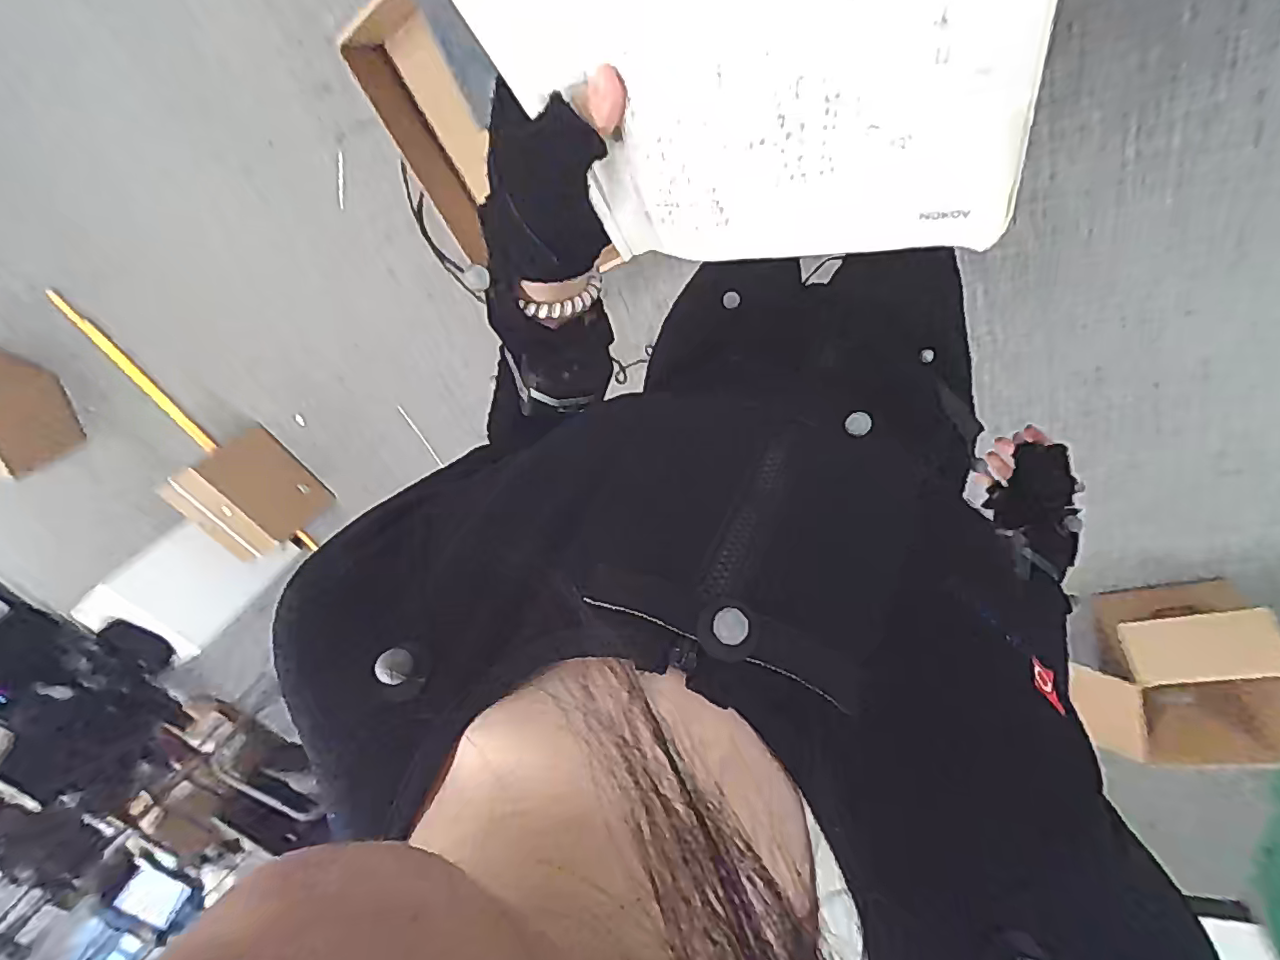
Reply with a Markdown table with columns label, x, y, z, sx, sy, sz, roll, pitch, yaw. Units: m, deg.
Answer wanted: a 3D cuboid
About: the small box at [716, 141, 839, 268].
| label | x | y | z | sx | sy | sz | roll | pitch | yaw |
| --- | --- | --- | --- | --- | --- | --- | --- | --- | --- |
| small box | 0.287 | -0.591 | 1.159 | 0.179 | 0.176 | 0.168 | 44 | 139 | 4 |
